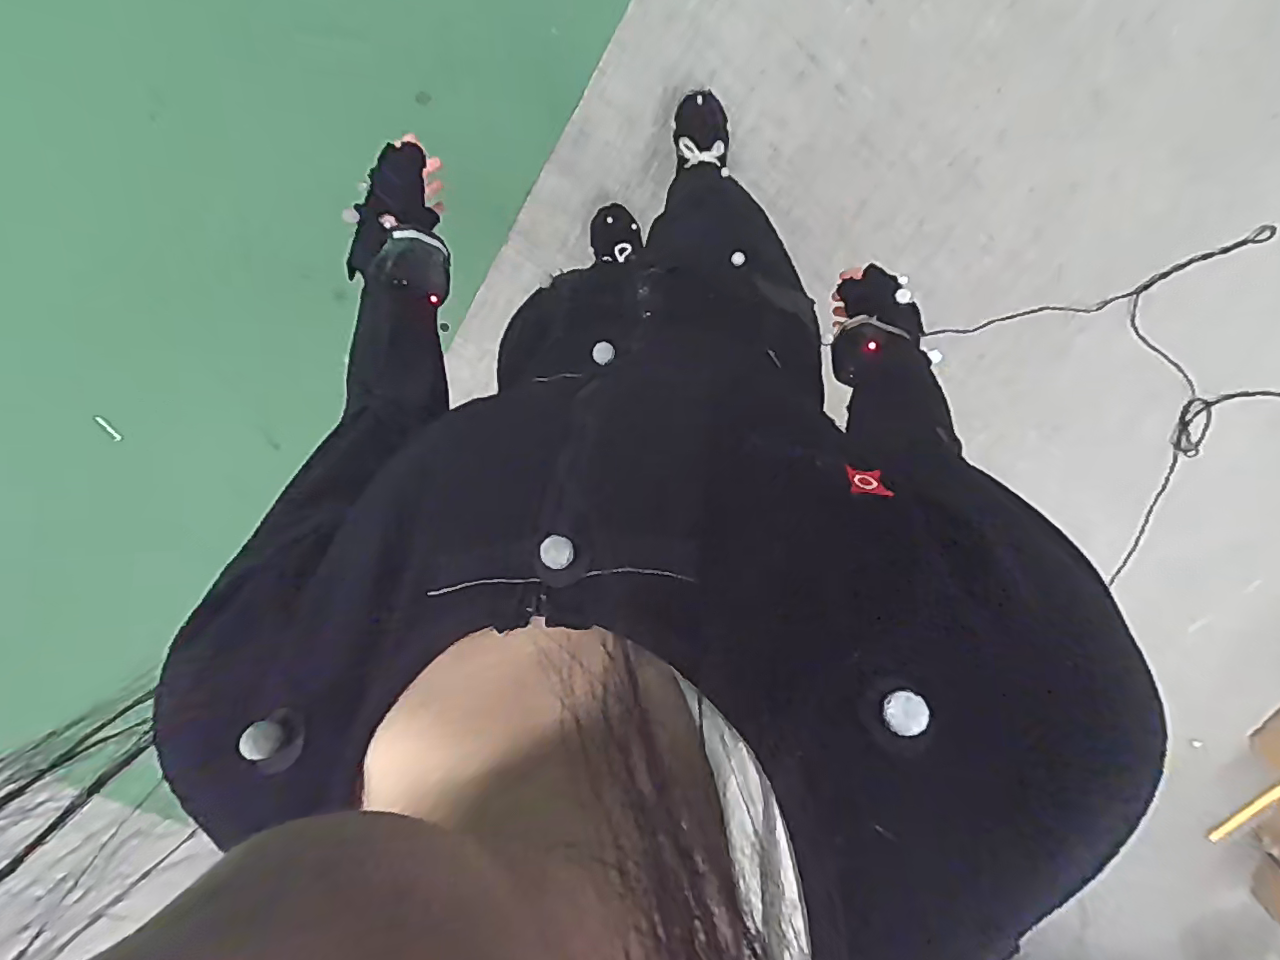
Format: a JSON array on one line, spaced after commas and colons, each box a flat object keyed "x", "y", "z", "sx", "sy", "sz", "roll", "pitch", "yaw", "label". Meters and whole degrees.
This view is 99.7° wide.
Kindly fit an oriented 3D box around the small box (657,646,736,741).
[{"x": 0.164, "y": 0.640, "z": 1.631, "sx": 0.168, "sy": 0.176, "sz": 0.179, "roll": 30, "pitch": 113, "yaw": -16, "label": "small box"}]

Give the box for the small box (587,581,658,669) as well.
[{"x": -0.053, "y": 0.458, "z": 1.722, "sx": 0.168, "sy": 0.176, "sz": 0.179, "roll": 26, "pitch": 113, "yaw": -13, "label": "small box"}]
